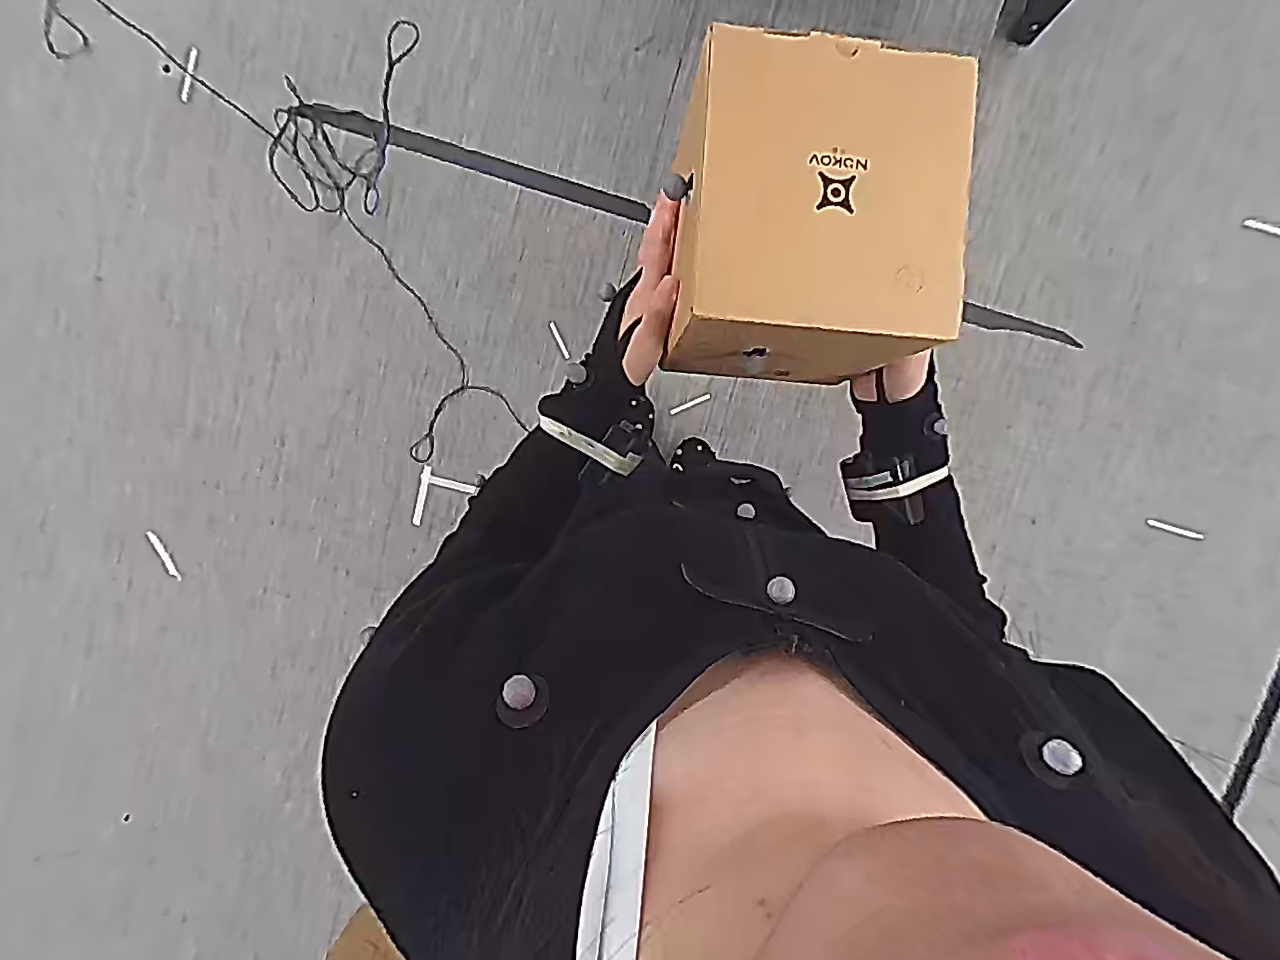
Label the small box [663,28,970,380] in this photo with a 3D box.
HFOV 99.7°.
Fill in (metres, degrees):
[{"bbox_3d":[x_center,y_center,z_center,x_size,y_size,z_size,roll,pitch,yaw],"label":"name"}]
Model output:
[{"bbox_3d":[0.111,-0.178,0.408,0.168,0.176,0.179,4,89,-5],"label":"small box"}]
